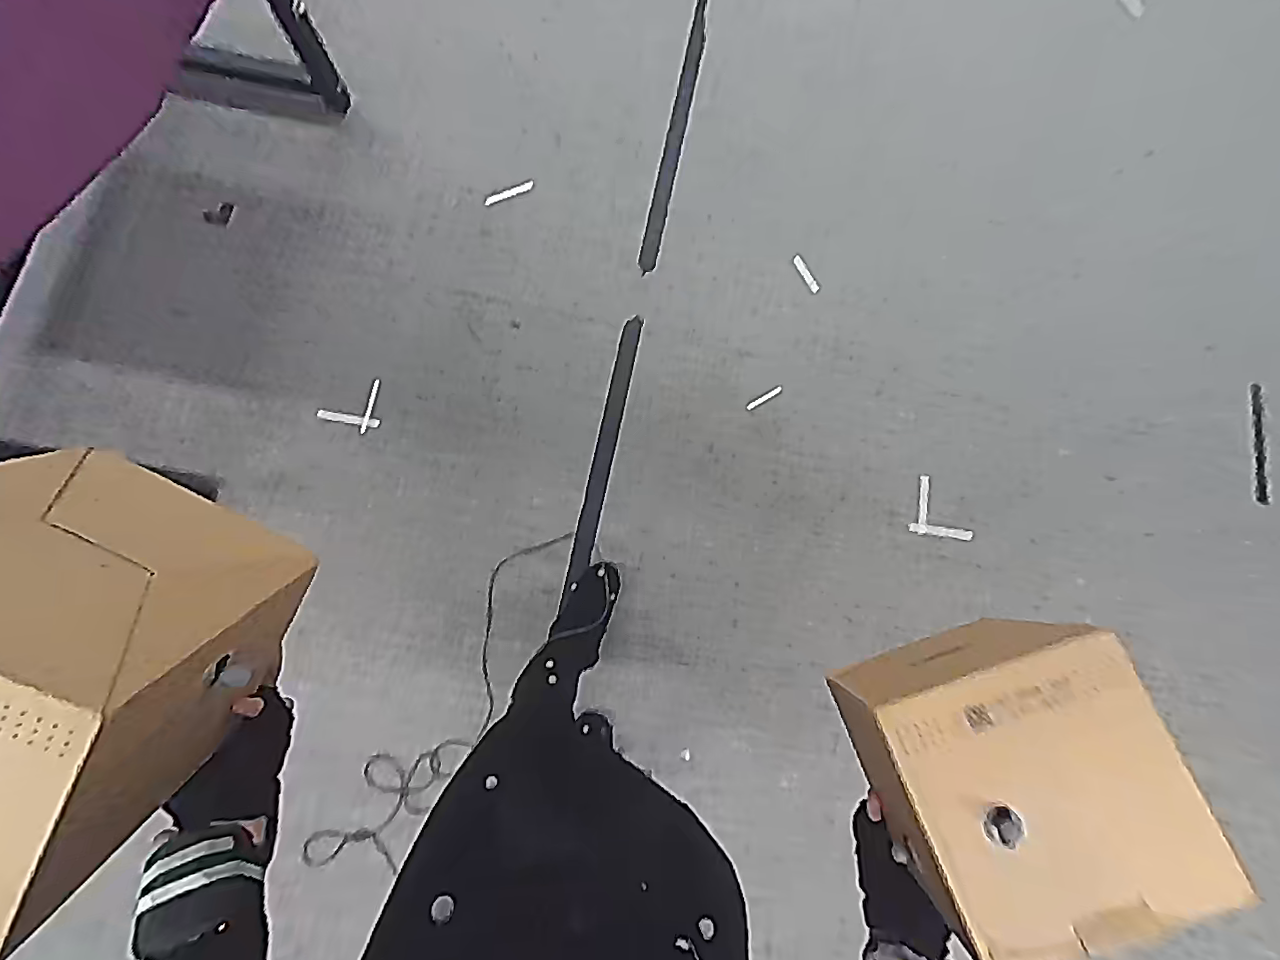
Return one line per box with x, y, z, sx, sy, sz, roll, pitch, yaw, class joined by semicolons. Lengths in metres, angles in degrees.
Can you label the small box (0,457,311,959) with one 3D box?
-0.335;0.103;0.306;0.168;0.179;0.176;30;99;-9;small box
